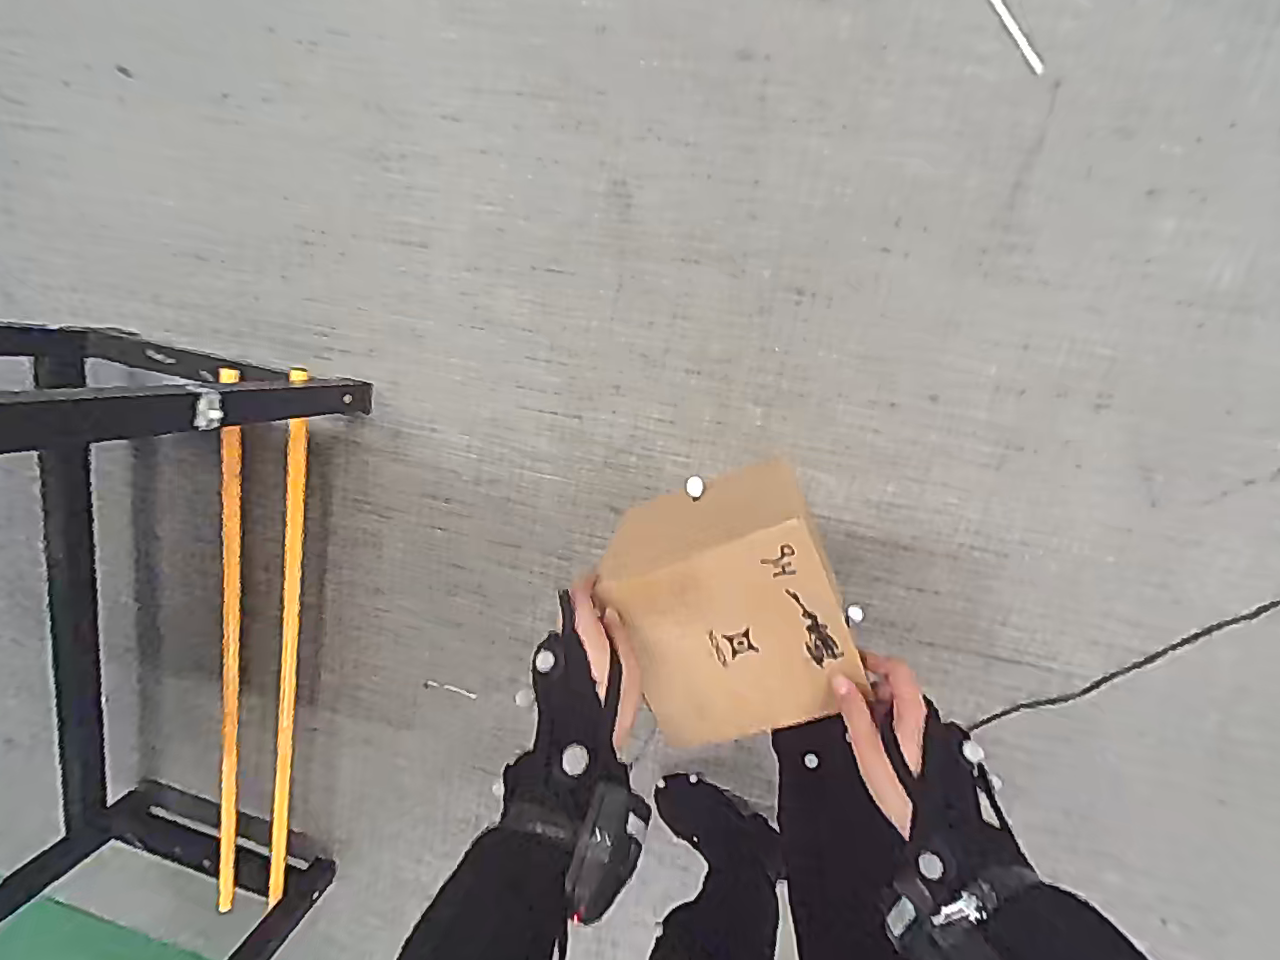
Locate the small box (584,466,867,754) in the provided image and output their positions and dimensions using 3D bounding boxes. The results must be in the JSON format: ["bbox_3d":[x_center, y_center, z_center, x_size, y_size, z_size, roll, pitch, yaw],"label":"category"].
[{"bbox_3d":[0.079,0.107,0.491,0.179,0.176,0.168,-22,102,16],"label":"small box"}]
